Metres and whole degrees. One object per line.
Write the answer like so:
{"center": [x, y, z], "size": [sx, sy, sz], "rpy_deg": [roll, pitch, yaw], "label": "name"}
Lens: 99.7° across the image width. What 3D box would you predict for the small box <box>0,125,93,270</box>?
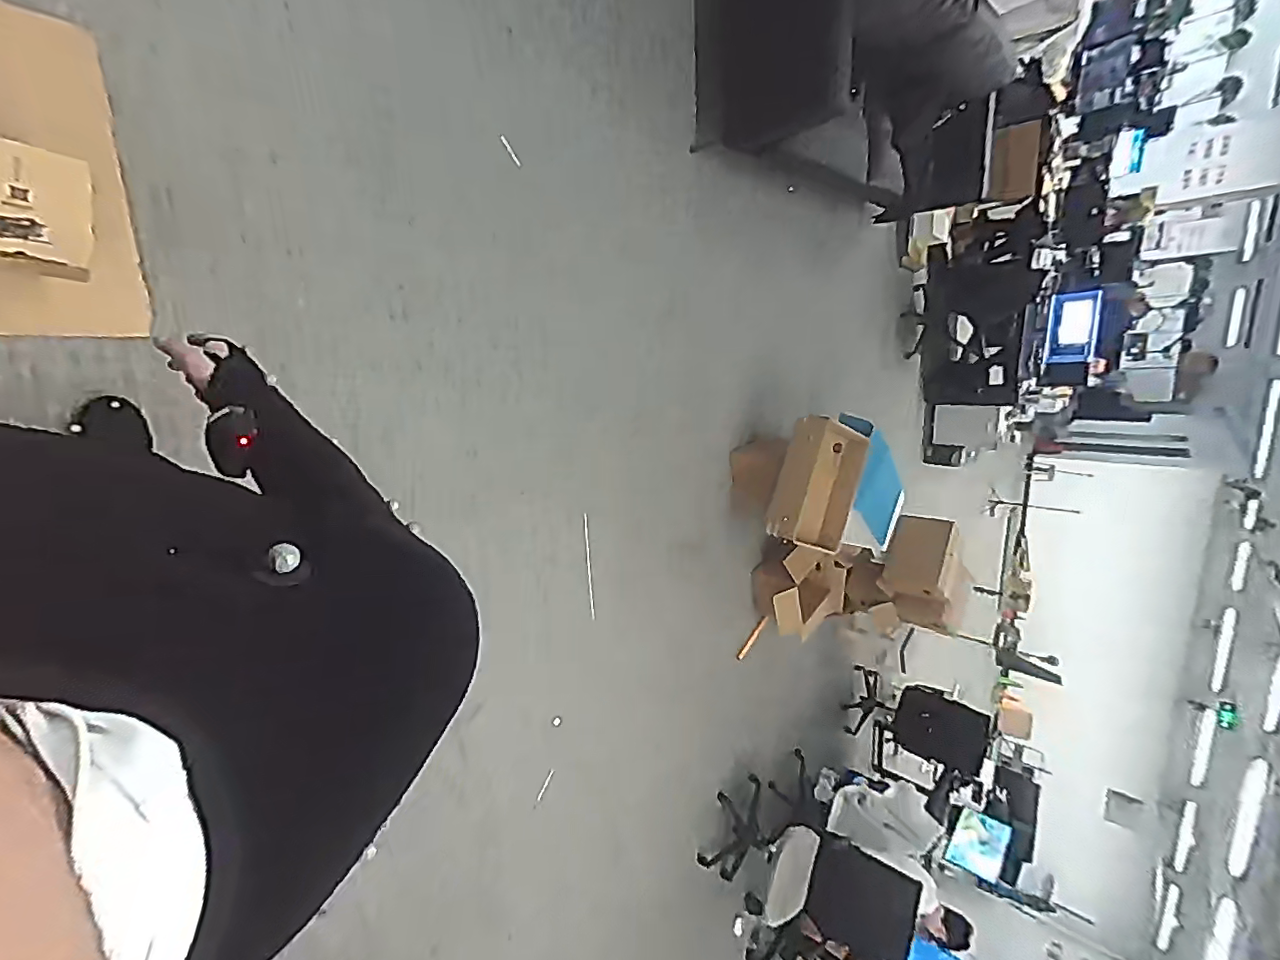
{"center": [-1.022, -0.461, 0.892], "size": [0.168, 0.176, 0.179], "rpy_deg": [-1, 97, -47], "label": "small box"}
